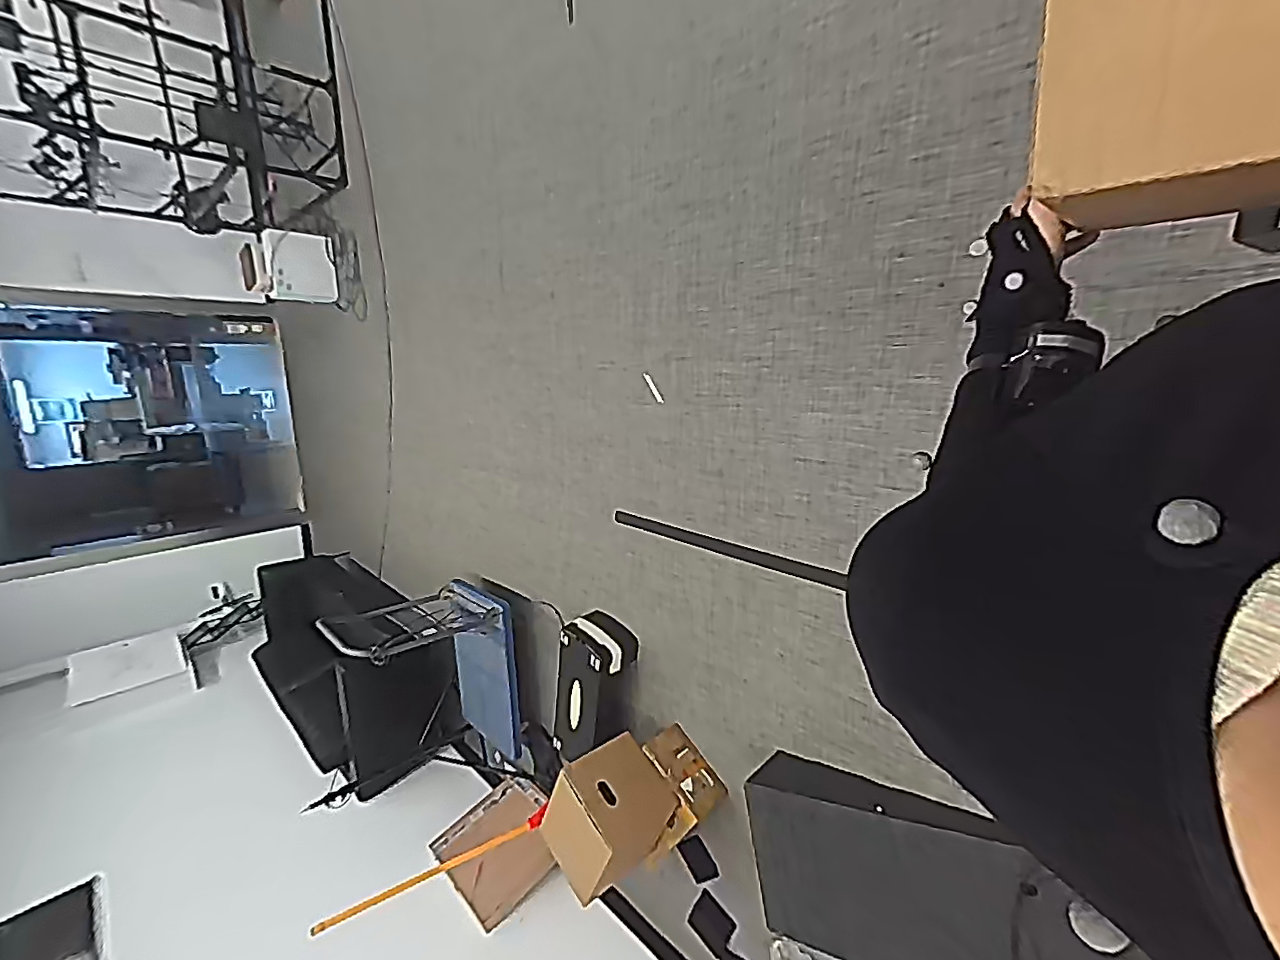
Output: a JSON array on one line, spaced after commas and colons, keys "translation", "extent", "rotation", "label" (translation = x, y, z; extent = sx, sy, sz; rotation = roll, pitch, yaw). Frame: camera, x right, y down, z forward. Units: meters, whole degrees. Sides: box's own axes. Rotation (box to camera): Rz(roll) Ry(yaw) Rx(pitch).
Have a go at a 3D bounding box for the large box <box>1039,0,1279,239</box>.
[{"translation": [0.433, -0.308, 0.221], "extent": [0.408, 0.320, 0.320], "rotation": [8, 111, 40], "label": "large box"}]
